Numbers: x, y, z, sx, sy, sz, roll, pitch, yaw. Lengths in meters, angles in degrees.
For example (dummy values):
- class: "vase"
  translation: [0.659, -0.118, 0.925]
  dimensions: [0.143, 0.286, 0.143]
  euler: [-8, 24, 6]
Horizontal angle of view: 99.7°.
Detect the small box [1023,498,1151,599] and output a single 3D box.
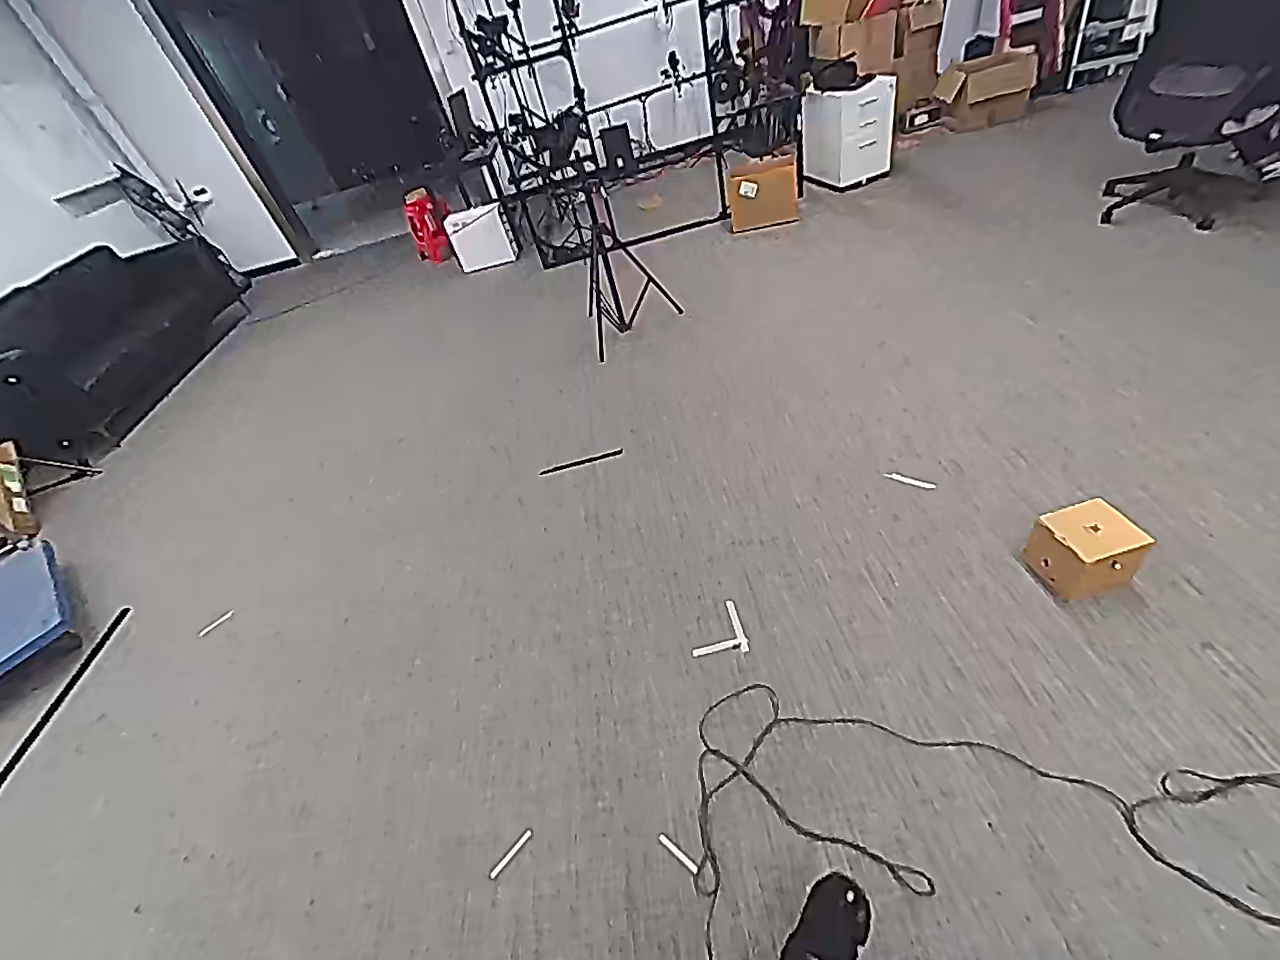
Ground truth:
- class: "small box"
  translation: [1.148, 0.180, 1.408]
  dimensions: [0.179, 0.176, 0.168]
  euler: [-18, 41, 0]
